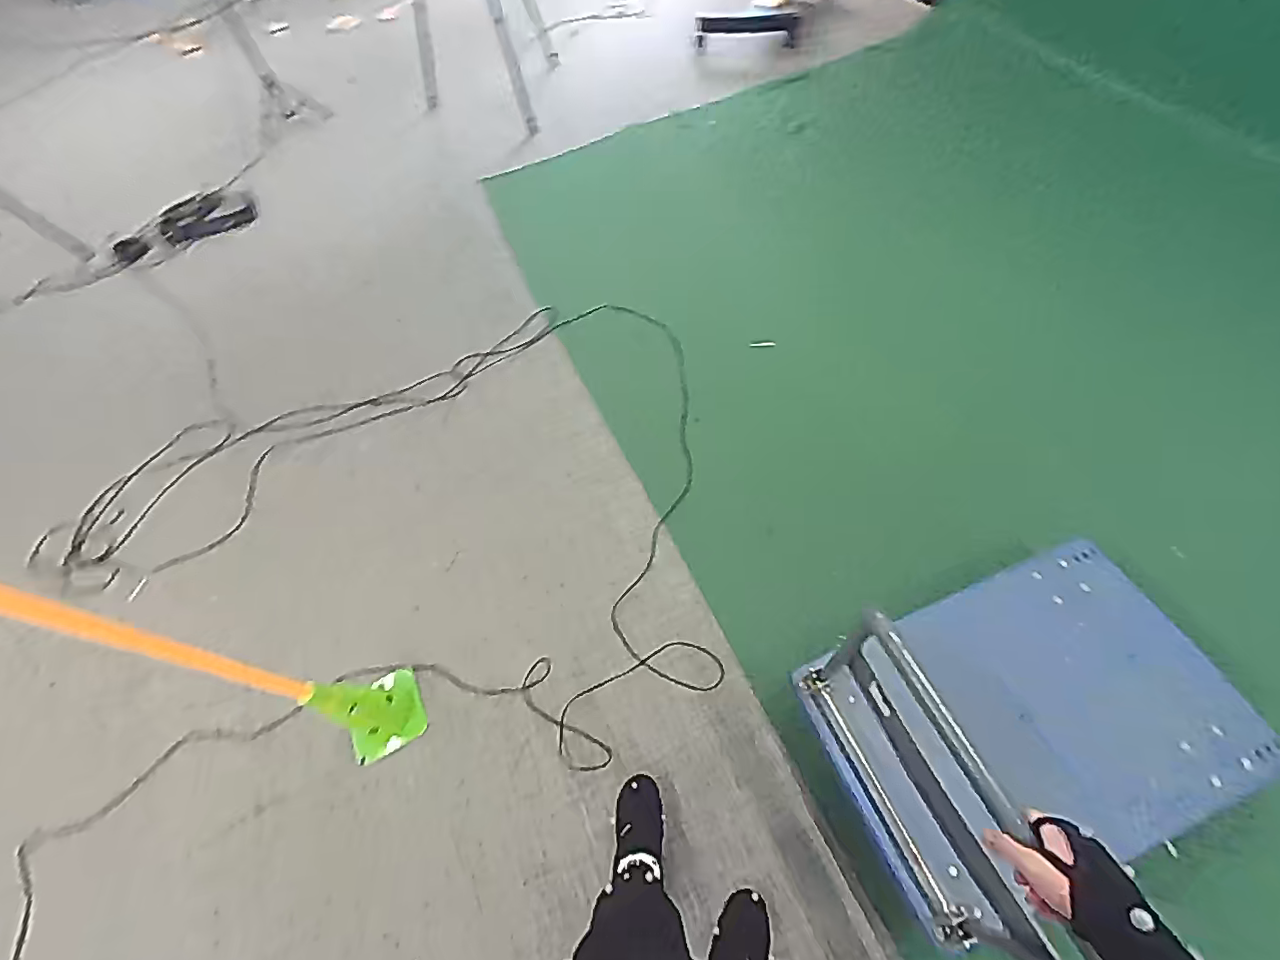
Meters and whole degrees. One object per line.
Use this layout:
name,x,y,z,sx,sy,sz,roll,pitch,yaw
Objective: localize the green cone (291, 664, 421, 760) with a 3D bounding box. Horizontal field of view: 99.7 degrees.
green cone,-0.739,0.552,1.361,0.200,0.368,0.202,-27,58,-10
